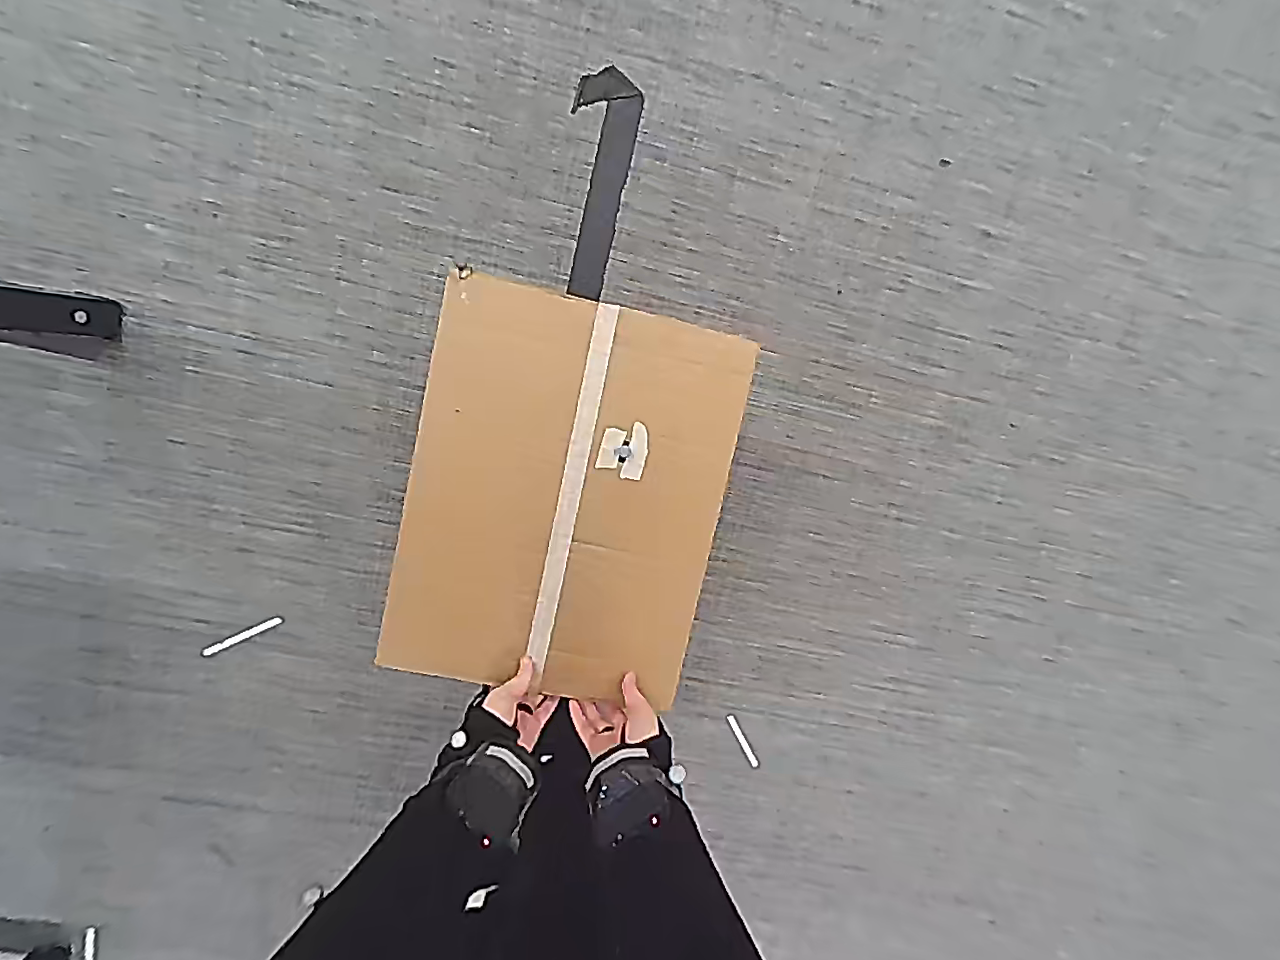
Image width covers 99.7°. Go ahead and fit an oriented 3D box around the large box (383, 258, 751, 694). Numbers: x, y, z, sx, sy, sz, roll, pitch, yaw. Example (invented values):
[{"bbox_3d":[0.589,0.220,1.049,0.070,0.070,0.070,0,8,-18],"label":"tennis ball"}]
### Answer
[{"bbox_3d":[-0.087,-0.005,0.696,0.320,0.320,0.408,12,95,-7],"label":"large box"}]
